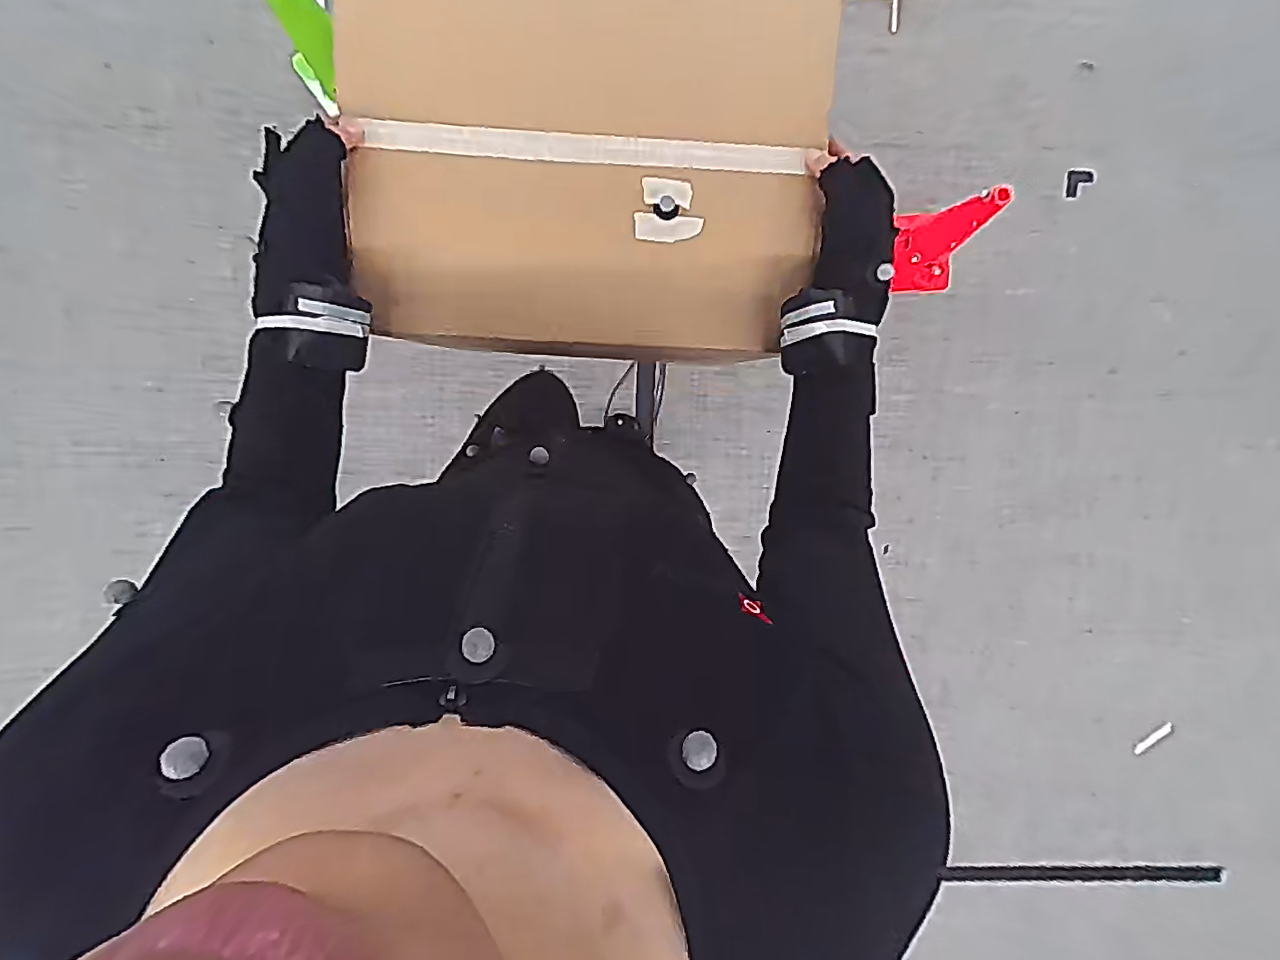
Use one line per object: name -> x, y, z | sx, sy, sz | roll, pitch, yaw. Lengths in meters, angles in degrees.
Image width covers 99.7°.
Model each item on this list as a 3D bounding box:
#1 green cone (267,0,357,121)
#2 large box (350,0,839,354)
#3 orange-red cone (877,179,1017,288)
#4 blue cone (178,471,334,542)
green cone -> -0.746, -1.028, 1.192 | 0.202, 0.368, 0.200 | -36, 94, 4
large box -> -0.047, -0.311, 0.603 | 0.408, 0.320, 0.320 | 2, 101, -4
orange-red cone -> 0.728, -0.597, 1.254 | 0.198, 0.360, 0.199 | -1, 93, -2
blue cone -> -0.926, 0.084, 1.301 | 0.192, 0.380, 0.193 | 5, 94, 0
